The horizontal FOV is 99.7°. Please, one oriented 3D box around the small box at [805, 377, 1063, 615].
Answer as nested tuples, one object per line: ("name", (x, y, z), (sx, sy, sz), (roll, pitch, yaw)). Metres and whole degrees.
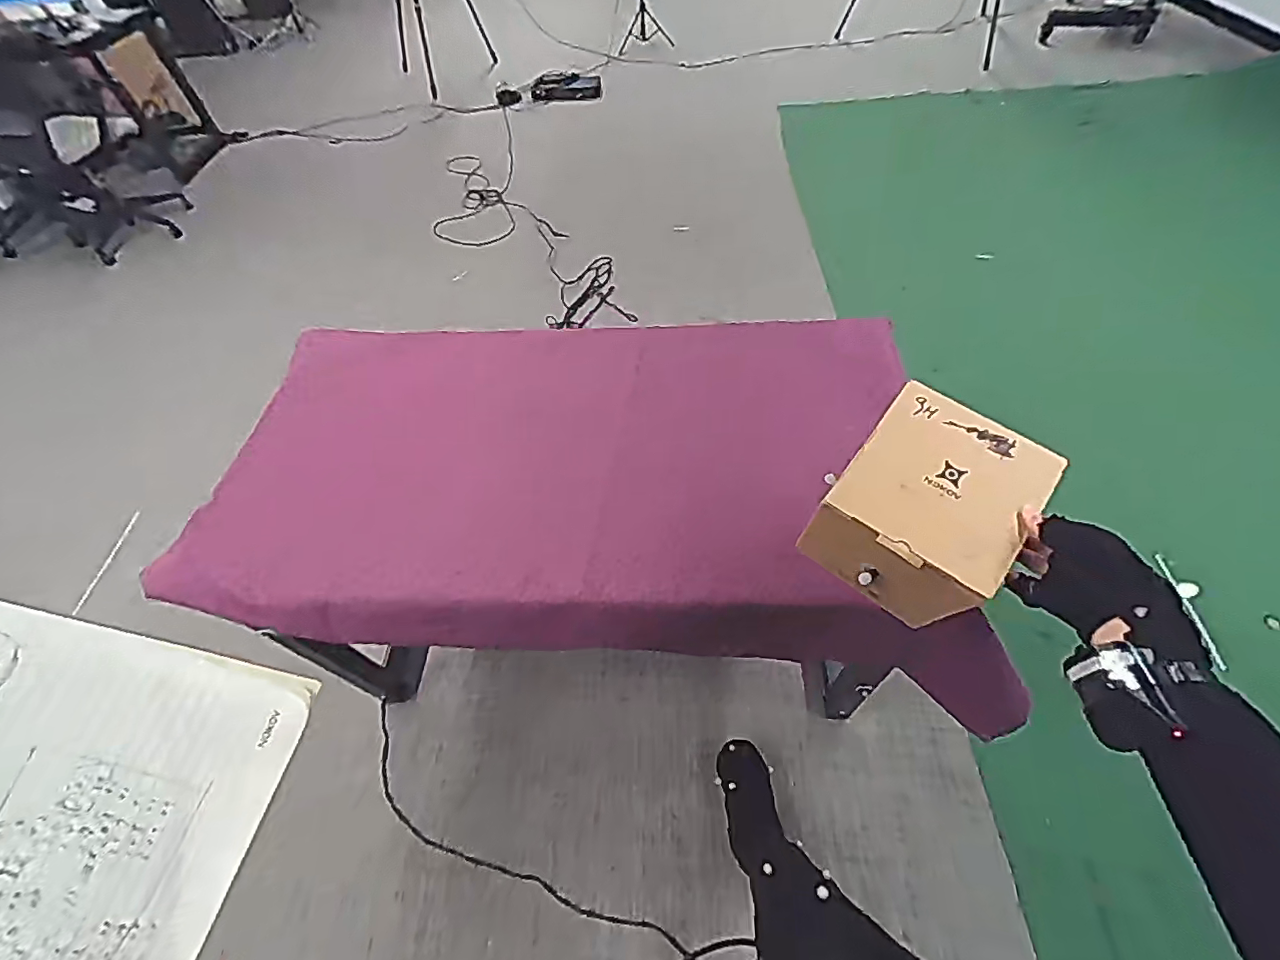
("small box", (0.303, 0.028, 0.600), (0.168, 0.176, 0.179), (35, 76, 17))
